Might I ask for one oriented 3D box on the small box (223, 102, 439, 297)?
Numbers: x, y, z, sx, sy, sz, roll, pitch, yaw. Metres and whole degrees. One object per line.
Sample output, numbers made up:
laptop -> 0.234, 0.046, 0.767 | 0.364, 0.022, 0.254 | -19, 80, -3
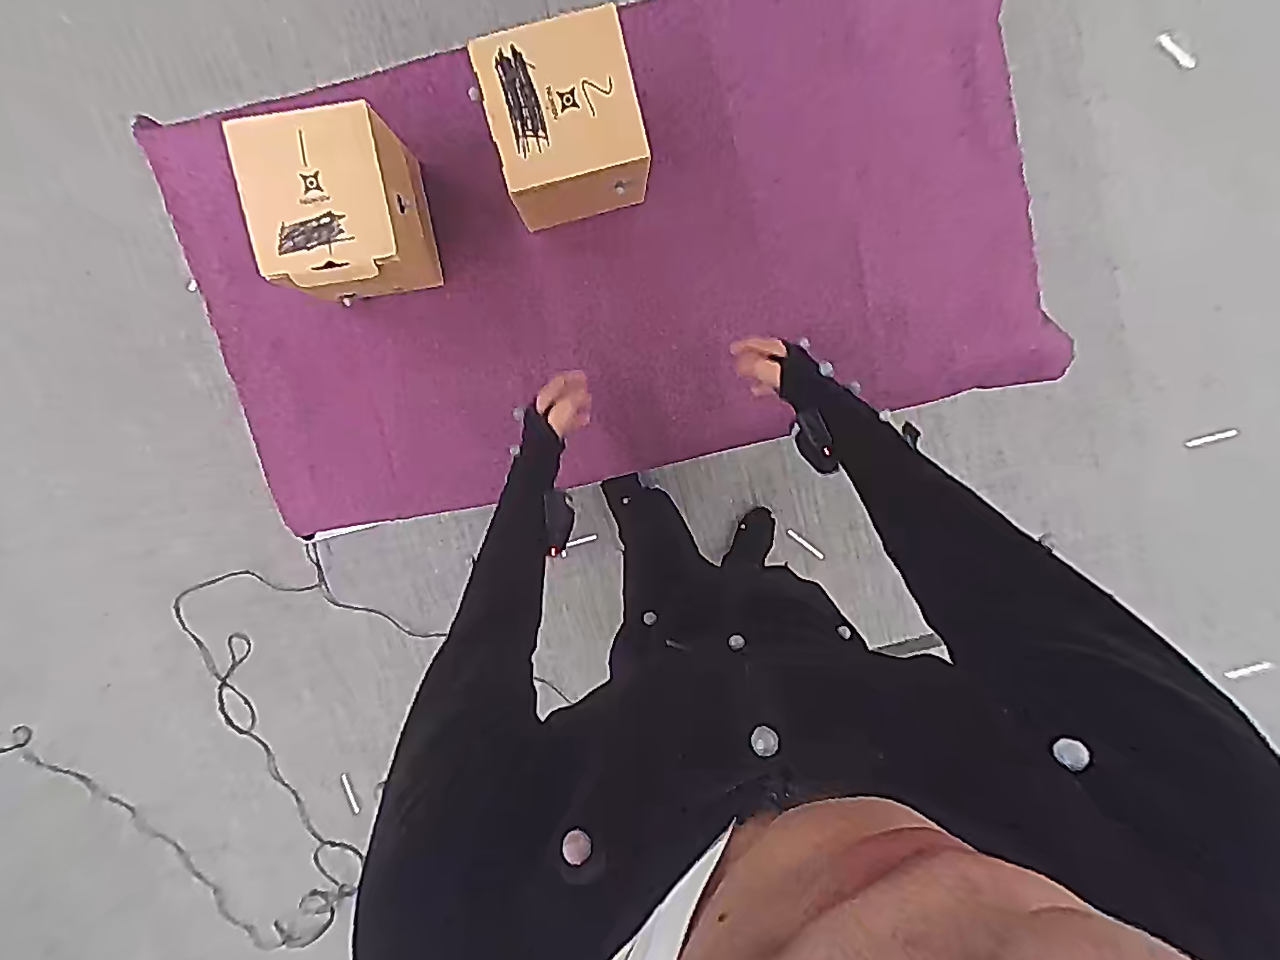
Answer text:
small box -> -0.379, -0.344, 0.701 | 0.168, 0.176, 0.179 | -9, 99, -1
